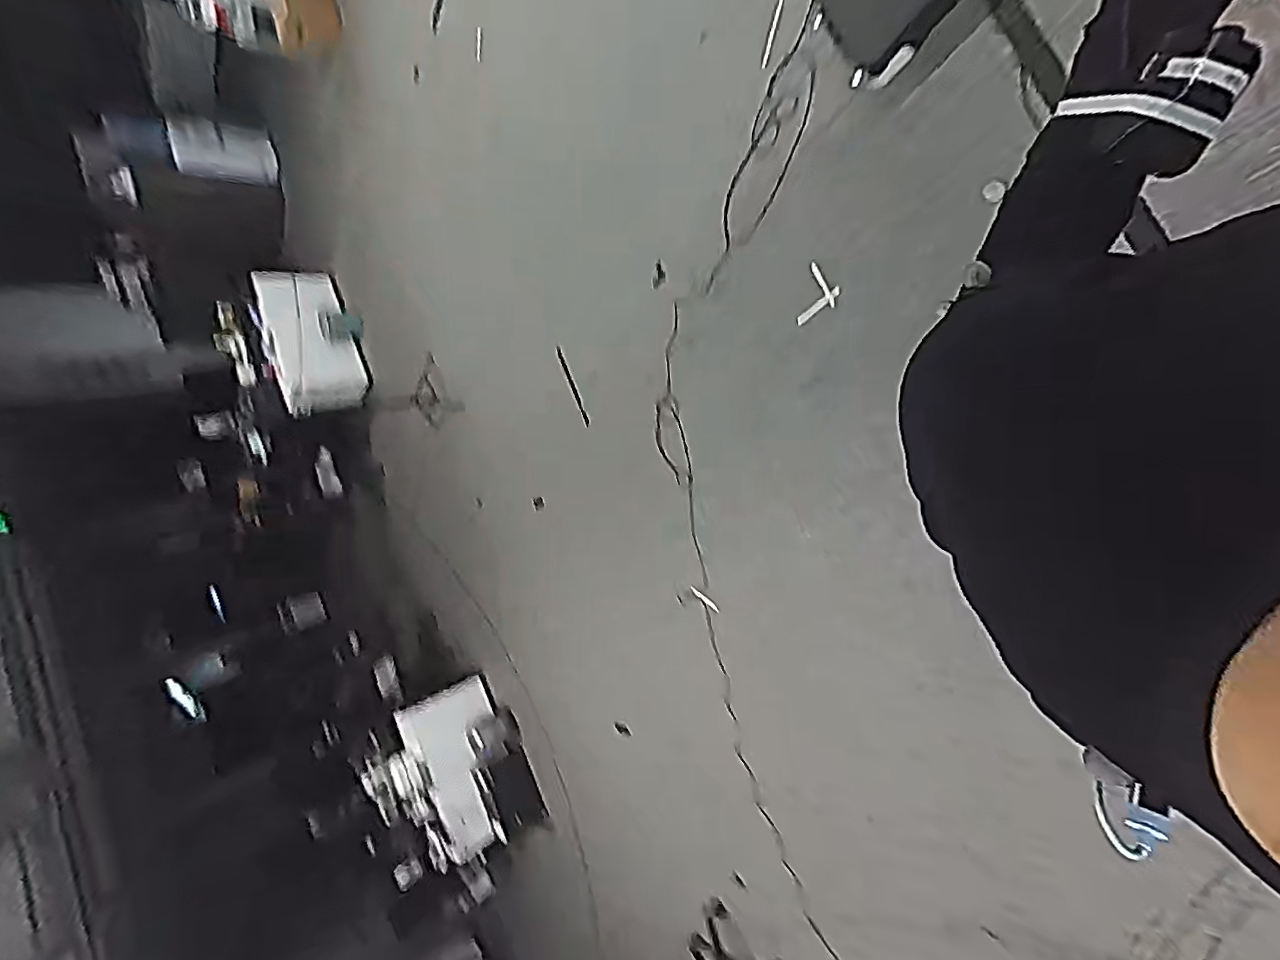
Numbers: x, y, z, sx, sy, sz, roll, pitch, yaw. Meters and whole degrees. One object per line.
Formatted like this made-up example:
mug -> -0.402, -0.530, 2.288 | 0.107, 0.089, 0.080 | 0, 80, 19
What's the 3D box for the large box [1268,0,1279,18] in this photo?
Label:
large box -> 0.576, -0.387, 0.182 | 0.408, 0.320, 0.320 | 31, 136, 37
